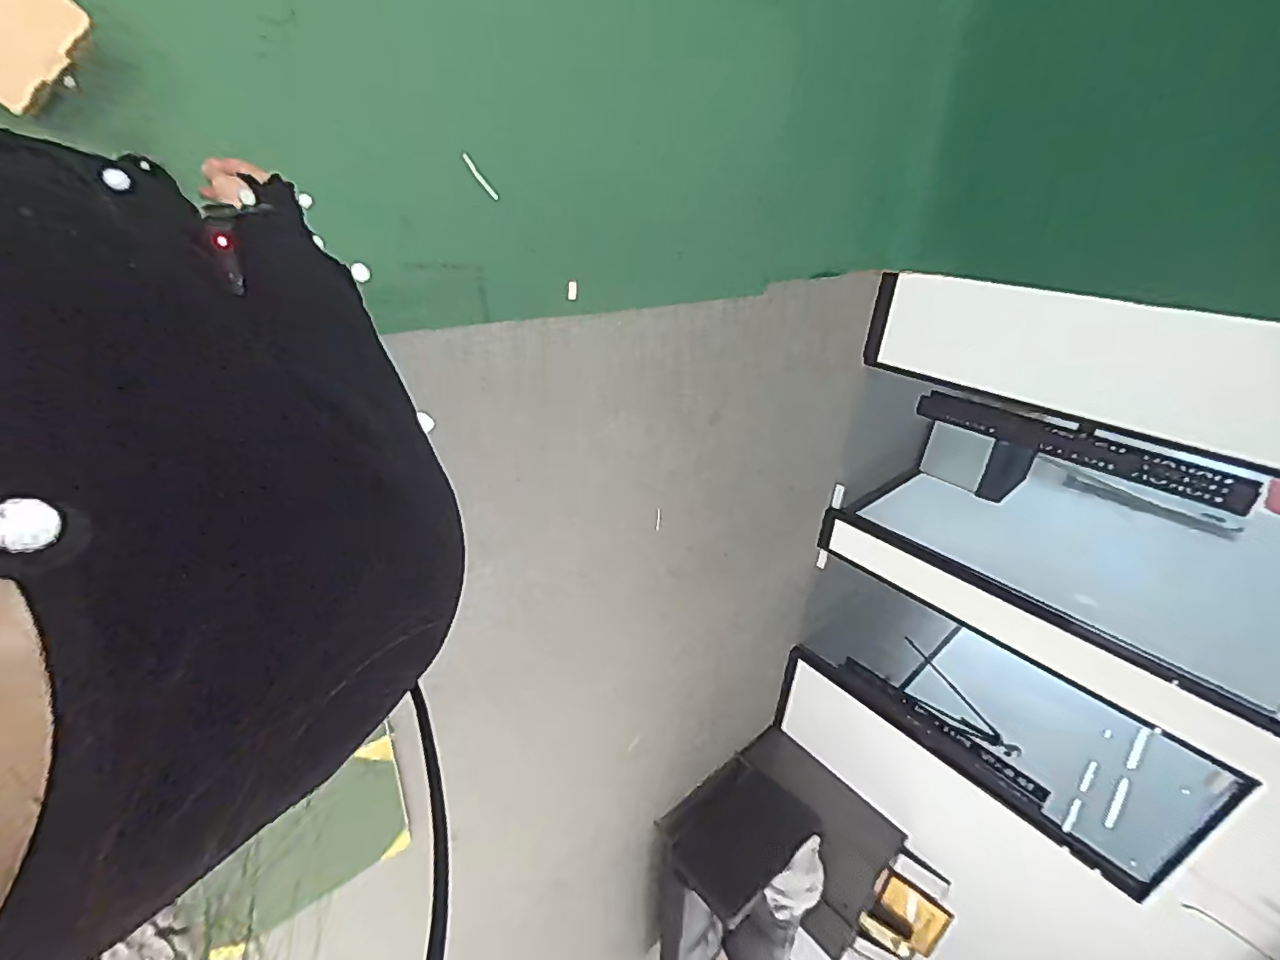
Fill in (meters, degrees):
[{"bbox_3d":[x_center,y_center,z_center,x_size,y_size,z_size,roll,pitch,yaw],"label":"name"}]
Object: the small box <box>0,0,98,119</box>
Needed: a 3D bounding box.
[{"bbox_3d":[-0.882,-0.622,0.721,0.168,0.176,0.179,-56,140,-4],"label":"small box"}]
